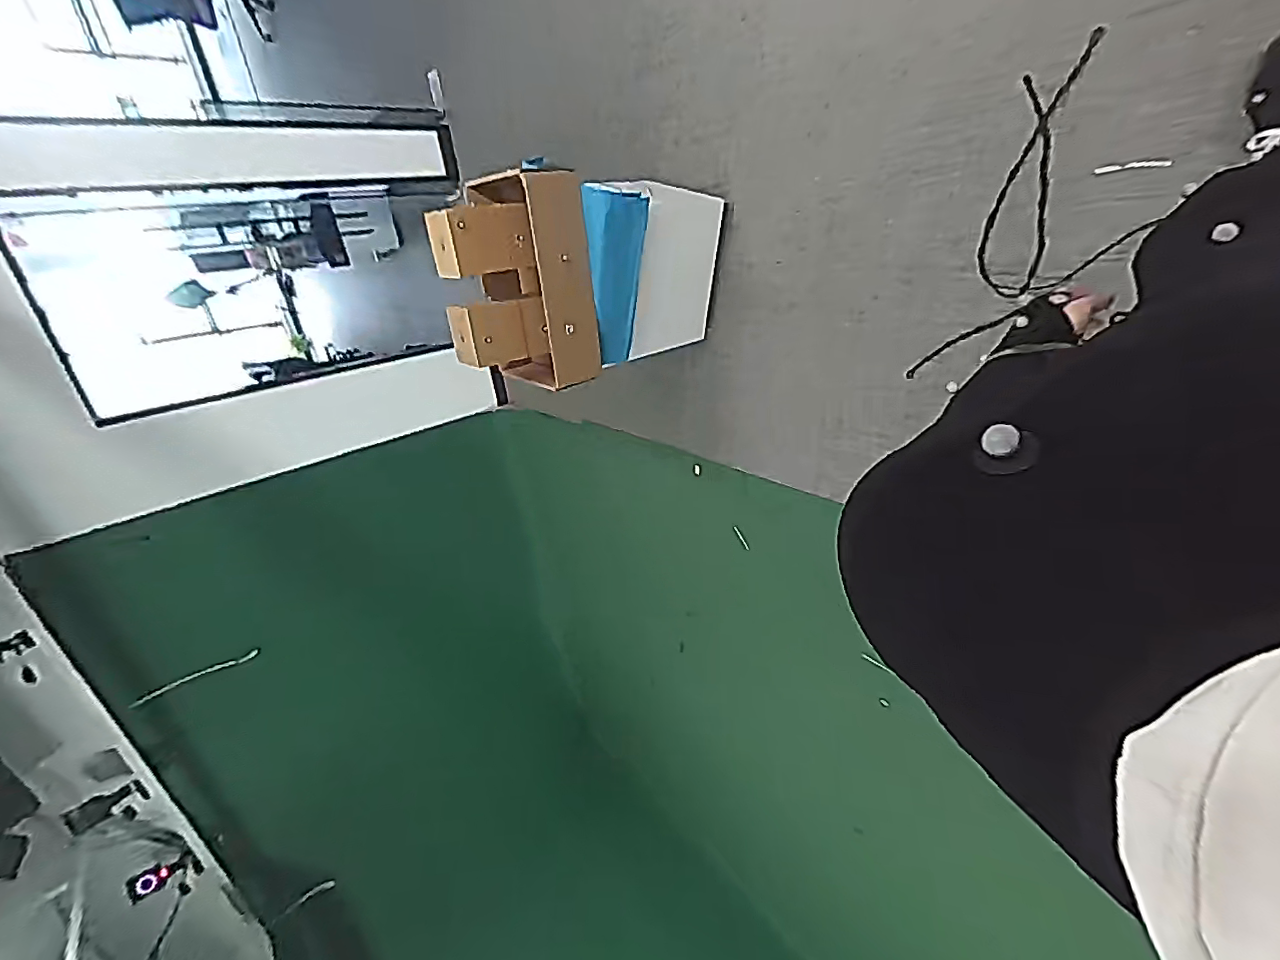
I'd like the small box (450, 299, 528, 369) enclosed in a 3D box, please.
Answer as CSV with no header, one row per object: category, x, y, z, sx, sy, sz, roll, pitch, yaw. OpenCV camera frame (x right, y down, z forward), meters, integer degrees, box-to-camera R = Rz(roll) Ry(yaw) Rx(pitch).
small box,-0.461,-0.455,1.674,0.168,0.176,0.179,24,127,46
